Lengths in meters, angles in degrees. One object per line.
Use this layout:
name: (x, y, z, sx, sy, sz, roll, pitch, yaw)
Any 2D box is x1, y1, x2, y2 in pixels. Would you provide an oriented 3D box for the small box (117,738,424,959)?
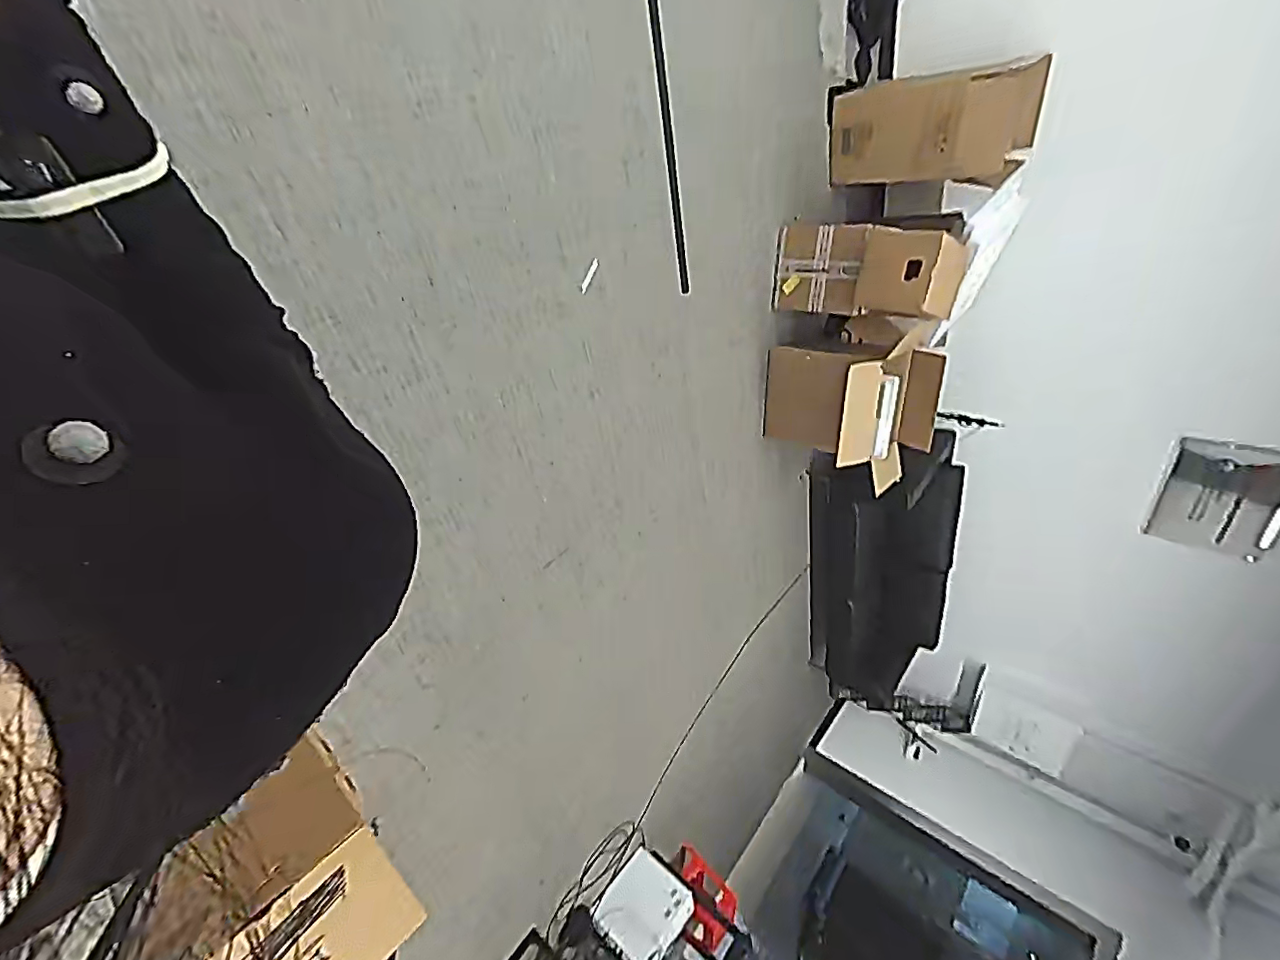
small box: (-0.345, 0.383, 0.515, 0.168, 0.176, 0.179, -34, 129, -37)
